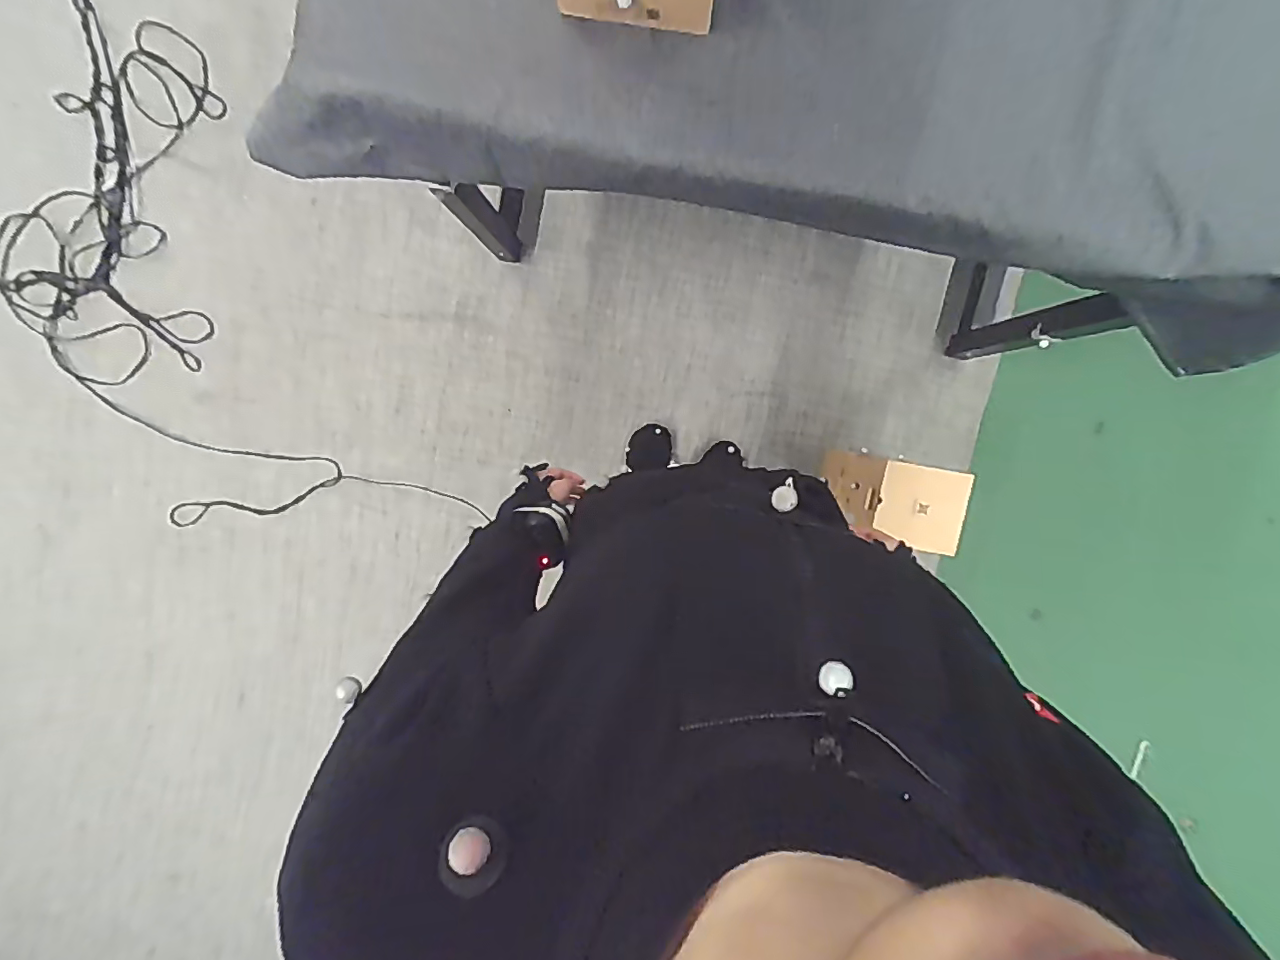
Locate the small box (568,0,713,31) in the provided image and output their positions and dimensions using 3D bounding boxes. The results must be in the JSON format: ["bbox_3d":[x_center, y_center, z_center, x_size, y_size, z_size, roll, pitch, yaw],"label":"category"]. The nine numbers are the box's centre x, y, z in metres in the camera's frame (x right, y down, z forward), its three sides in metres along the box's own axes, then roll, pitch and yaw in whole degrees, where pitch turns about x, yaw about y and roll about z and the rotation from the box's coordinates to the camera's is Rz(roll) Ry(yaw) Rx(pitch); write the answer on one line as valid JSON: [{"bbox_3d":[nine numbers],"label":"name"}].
[{"bbox_3d":[0.004,-0.573,0.496,0.168,0.176,0.179,8,97,1],"label":"small box"}]

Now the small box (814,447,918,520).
[{"bbox_3d":[0.531,0.018,1.281,0.179,0.176,0.168,11,95,0],"label":"small box"}]

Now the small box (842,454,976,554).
[{"bbox_3d":[0.545,0.041,1.118,0.179,0.176,0.168,10,97,0],"label":"small box"}]
